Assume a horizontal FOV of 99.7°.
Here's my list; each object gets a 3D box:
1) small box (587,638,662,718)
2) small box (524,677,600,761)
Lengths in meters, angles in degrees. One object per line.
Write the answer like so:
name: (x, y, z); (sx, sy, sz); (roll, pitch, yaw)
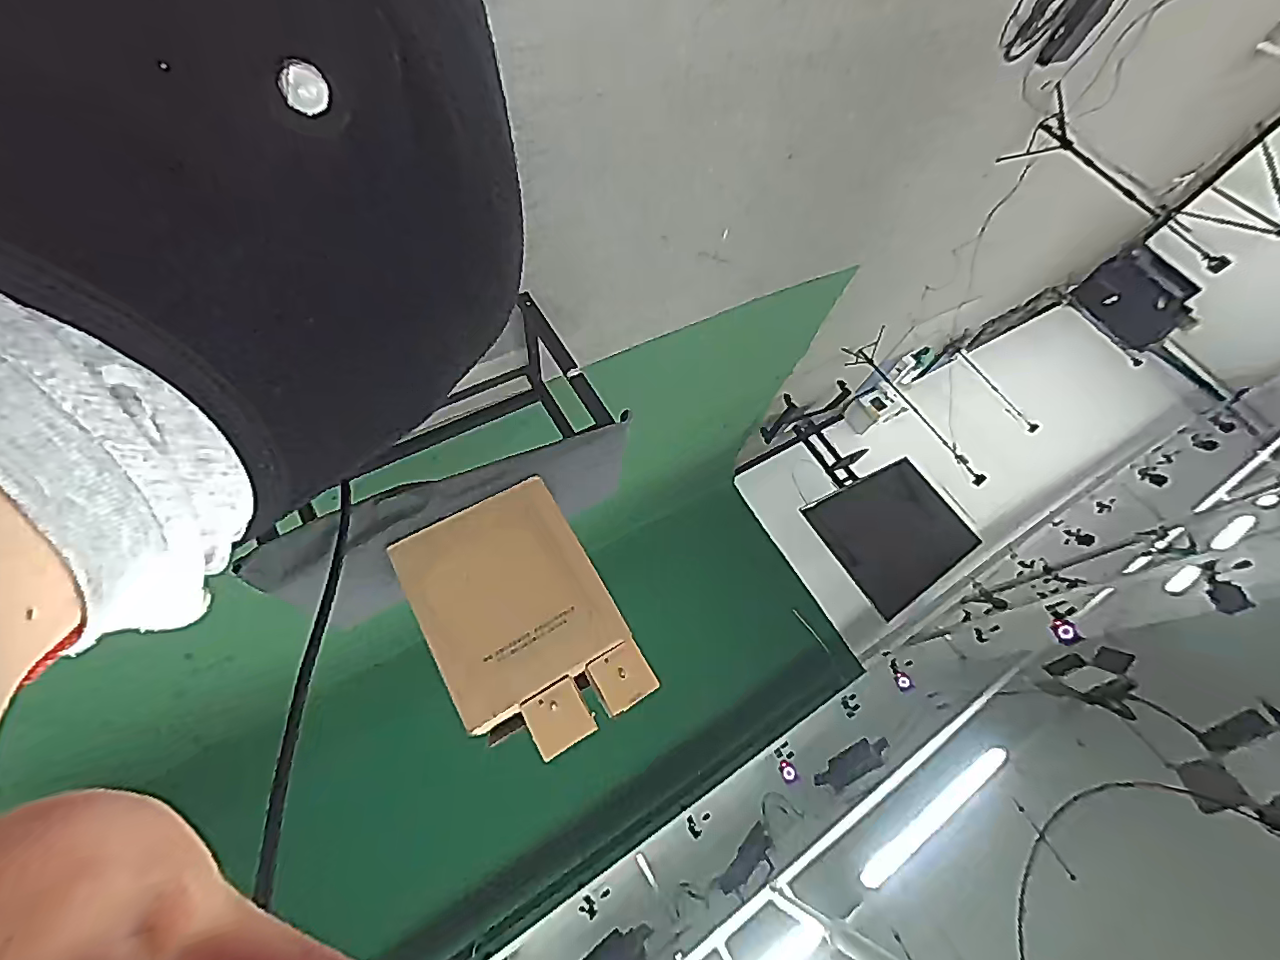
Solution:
small box: (-0.054, 0.620, 1.702); (0.168, 0.176, 0.179); (-29, 161, -19)
small box: (-0.231, 0.714, 1.624); (0.168, 0.176, 0.179); (-29, 160, -14)
